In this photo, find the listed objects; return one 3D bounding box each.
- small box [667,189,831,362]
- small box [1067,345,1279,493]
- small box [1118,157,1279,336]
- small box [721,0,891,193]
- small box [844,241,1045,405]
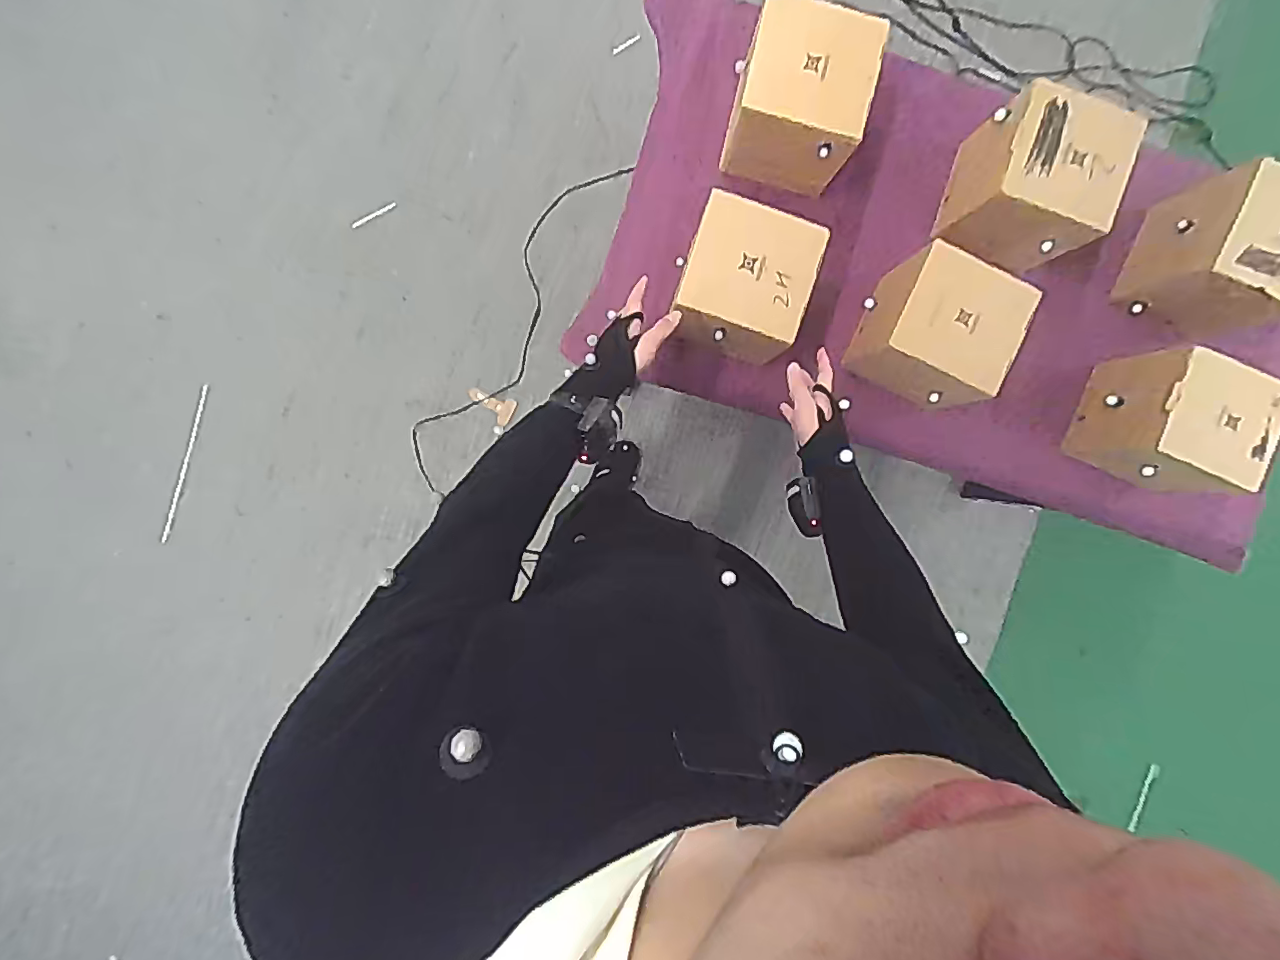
[{"bbox_3d":[0.149,-0.290,0.809,0.179,0.176,0.168,19,91,-4],"label":"small box"},{"bbox_3d":[0.837,-0.087,0.852,0.179,0.176,0.168,22,90,-2],"label":"small box"},{"bbox_3d":[0.913,-0.348,0.845,0.168,0.176,0.179,23,91,-3],"label":"small box"},{"bbox_3d":[0.232,-0.561,0.806,0.179,0.176,0.168,13,92,-4],"label":"small box"},{"bbox_3d":[0.451,-0.225,0.830,0.179,0.176,0.168,25,90,-2],"label":"small box"}]
